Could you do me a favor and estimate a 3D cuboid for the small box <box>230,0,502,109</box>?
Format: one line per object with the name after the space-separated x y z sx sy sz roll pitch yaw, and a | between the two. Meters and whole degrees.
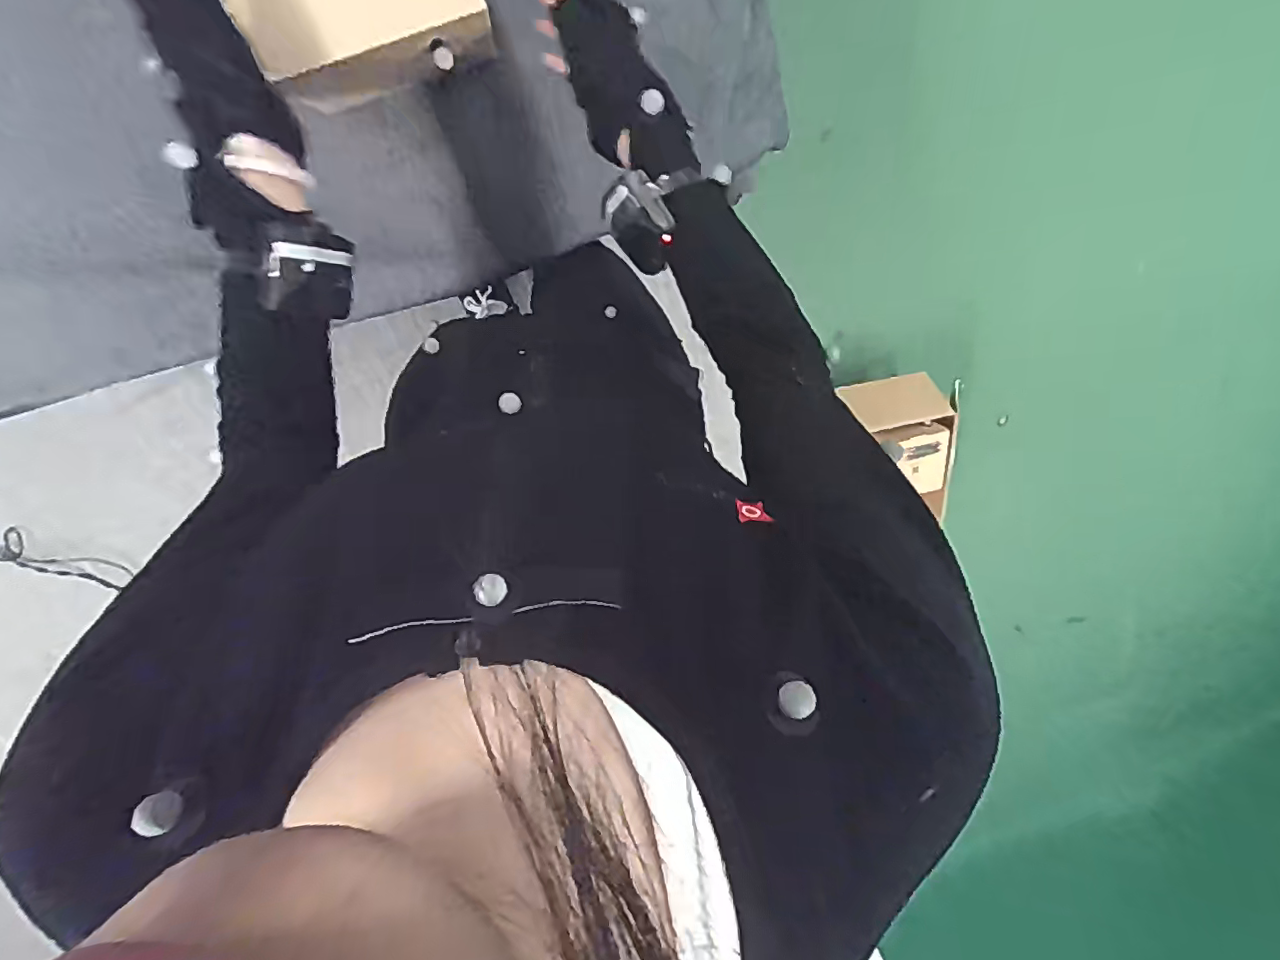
-0.221 -0.416 0.420 0.179 0.176 0.168 -20 120 -1 | small box
